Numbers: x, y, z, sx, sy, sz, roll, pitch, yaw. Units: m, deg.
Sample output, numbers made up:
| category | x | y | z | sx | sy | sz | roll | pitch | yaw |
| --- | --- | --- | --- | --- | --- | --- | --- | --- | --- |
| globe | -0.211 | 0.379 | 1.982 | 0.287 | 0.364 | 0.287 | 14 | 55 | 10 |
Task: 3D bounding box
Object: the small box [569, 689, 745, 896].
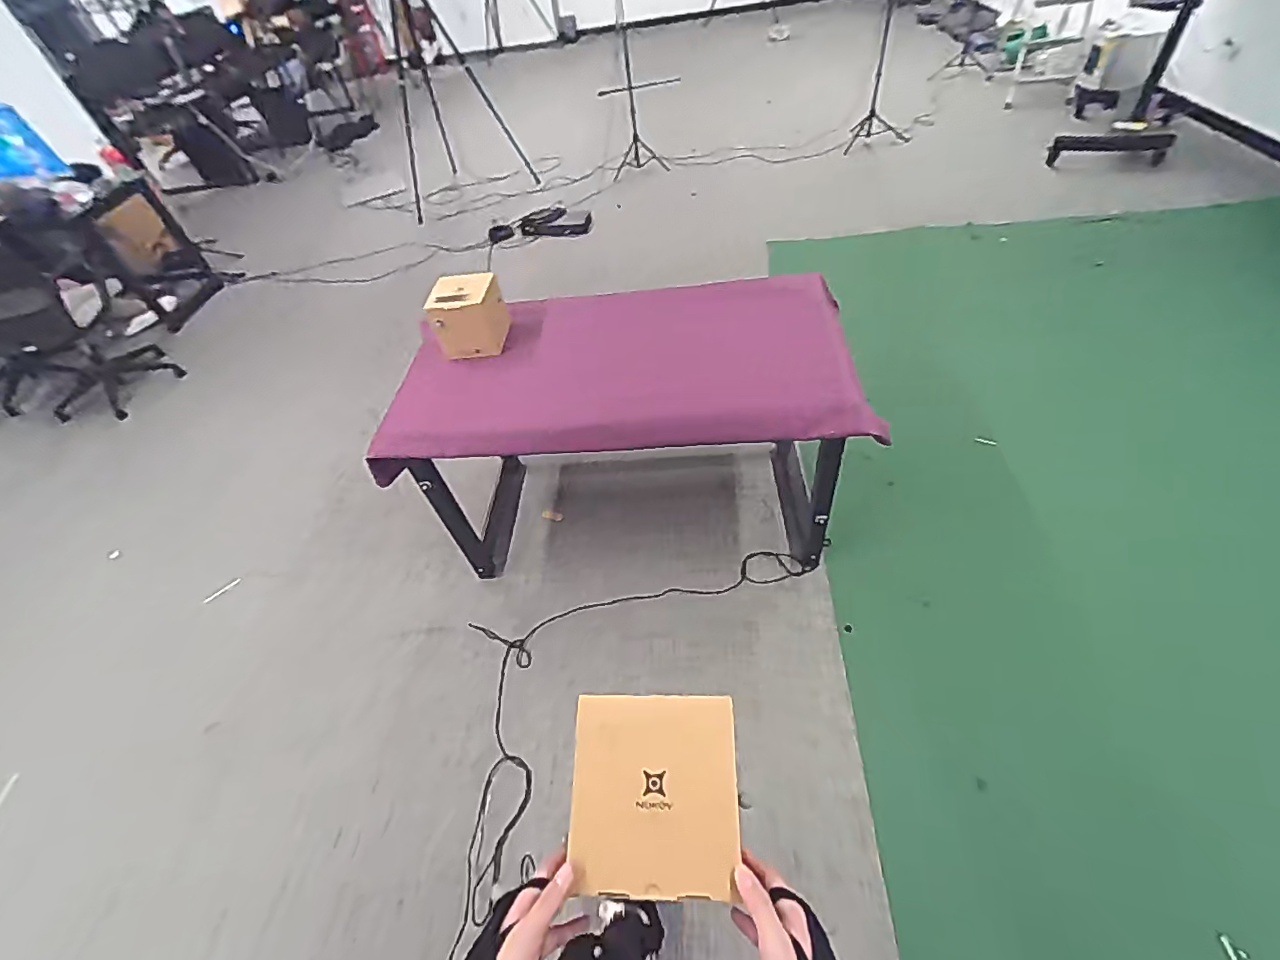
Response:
| category | x | y | z | sx | sy | sz | roll | pitch | yaw |
| --- | --- | --- | --- | --- | --- | --- | --- | --- | --- |
| small box | 0.020 | 0.338 | 0.604 | 0.168 | 0.176 | 0.179 | -1 | 63 | 3 |
